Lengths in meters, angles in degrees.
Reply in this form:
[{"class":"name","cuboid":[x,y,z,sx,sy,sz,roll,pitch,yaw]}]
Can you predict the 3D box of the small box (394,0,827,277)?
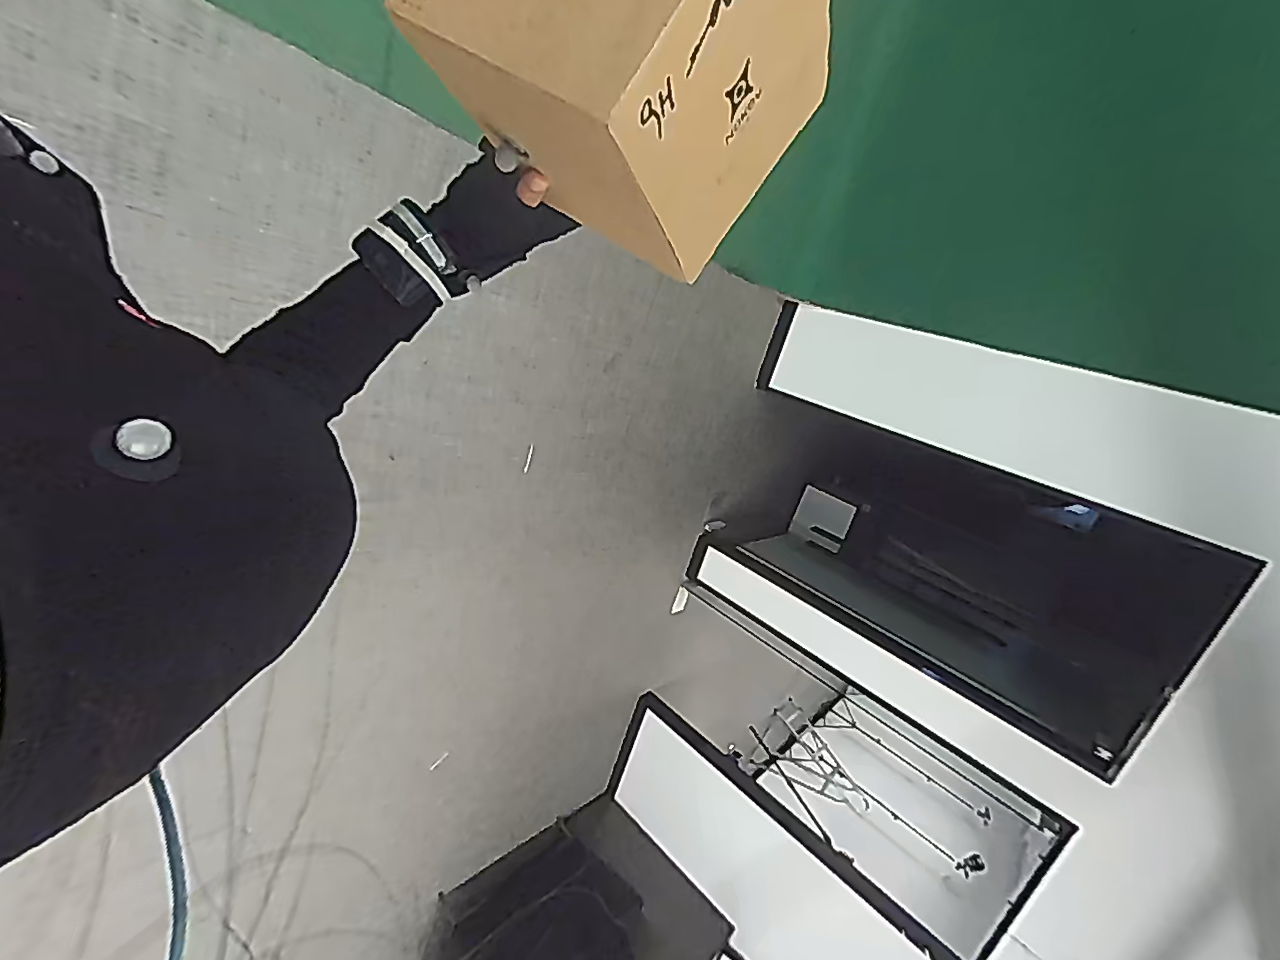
[{"class":"small box","cuboid":[-0.005,-0.268,0.335,0.168,0.176,0.179,-55,164,6]}]
